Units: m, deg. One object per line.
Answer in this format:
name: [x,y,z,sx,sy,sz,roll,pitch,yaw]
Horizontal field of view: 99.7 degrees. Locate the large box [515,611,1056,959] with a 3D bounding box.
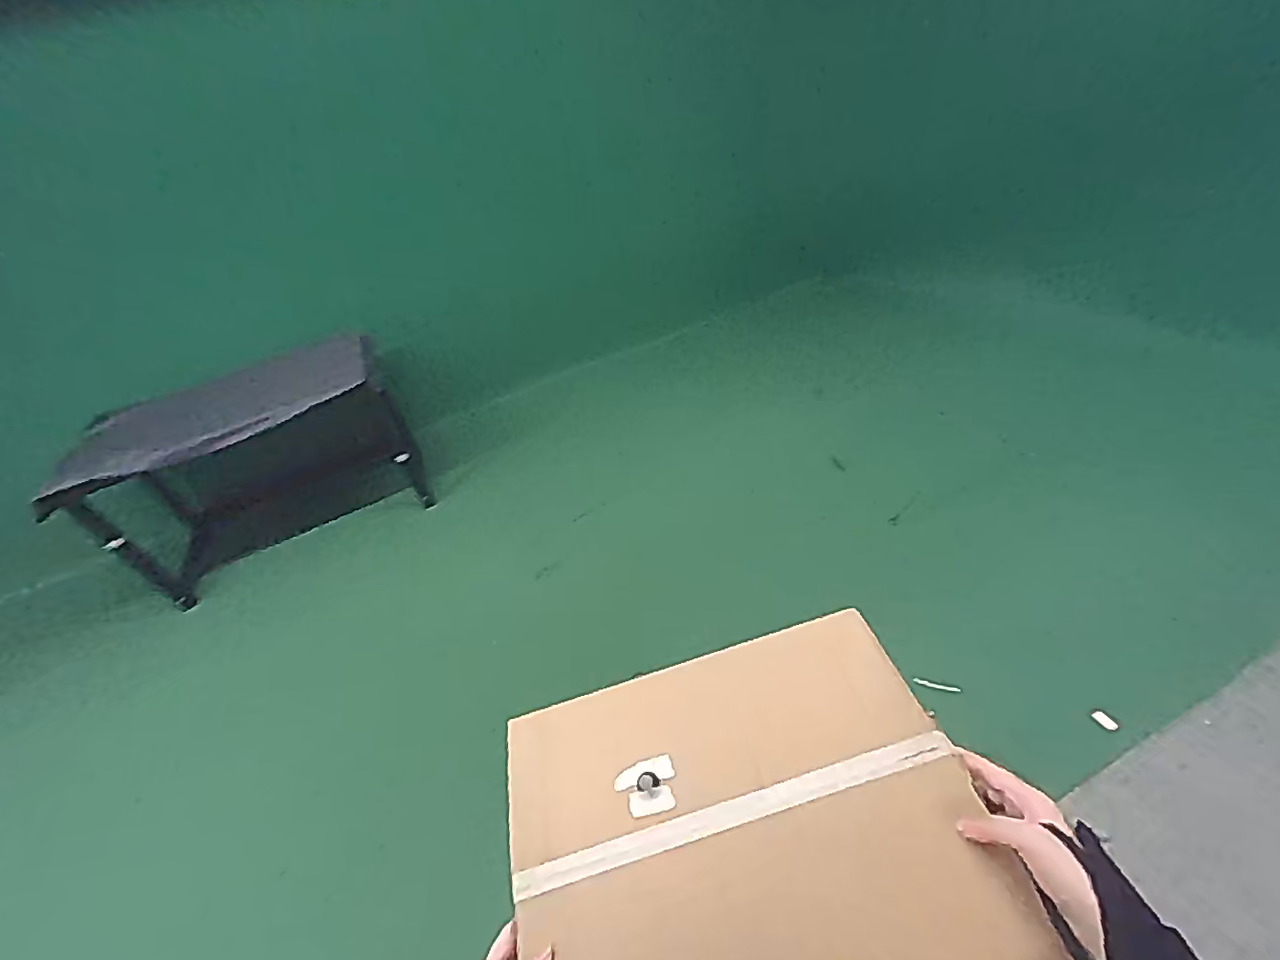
large box: [0.118,0.410,0.593,0.408,0.320,0.320,-19,41,0]
